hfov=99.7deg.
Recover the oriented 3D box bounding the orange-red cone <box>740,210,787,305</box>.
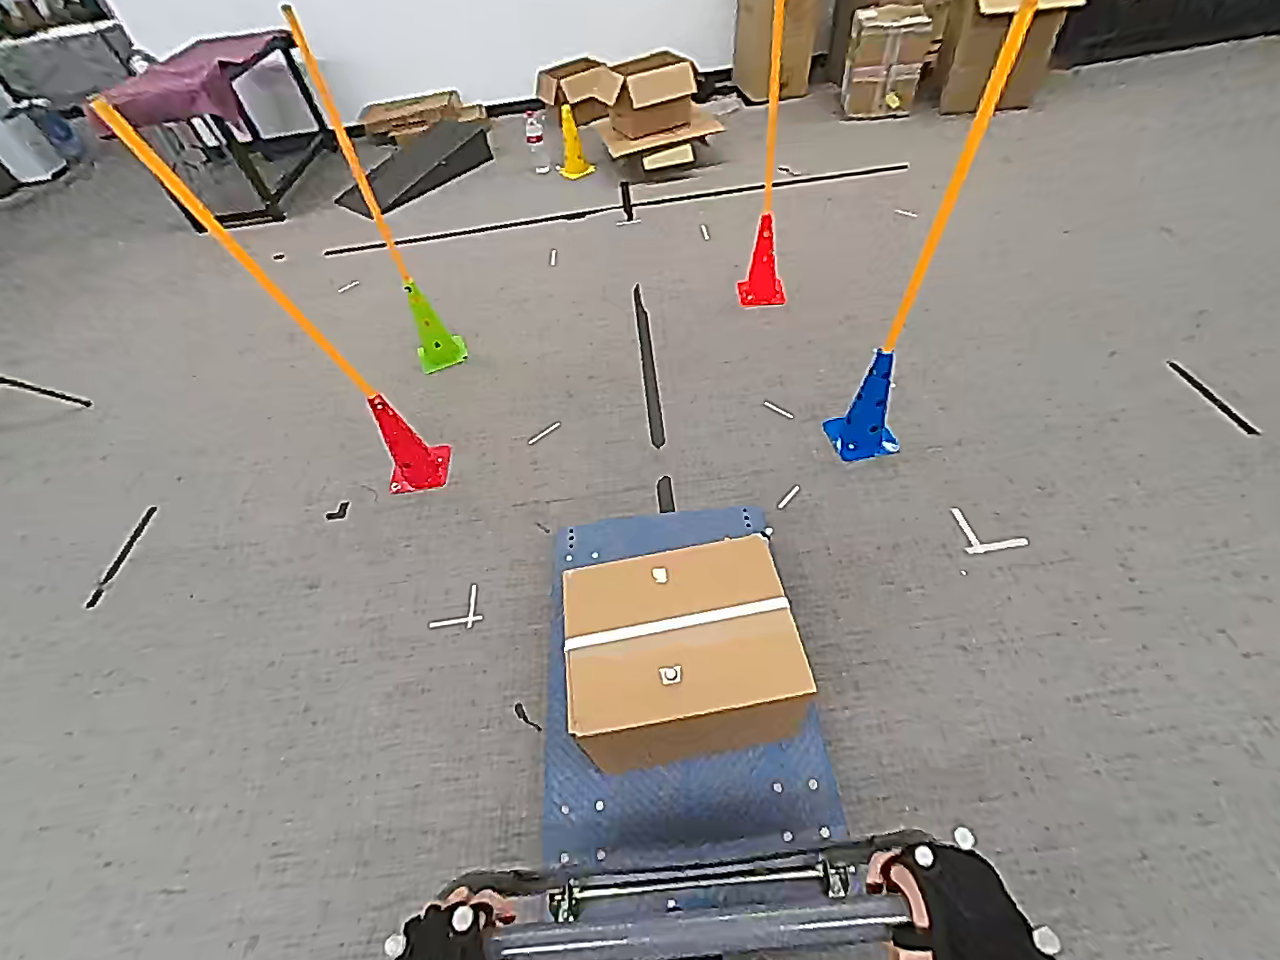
[{"bbox_3d":[0.532,-0.948,2.275,0.199,0.360,0.198,-2,52,5],"label":"orange-red cone"}]

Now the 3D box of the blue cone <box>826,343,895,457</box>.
[{"bbox_3d":[0.734,-0.262,1.711,0.193,0.380,0.192,-10,50,-1],"label":"blue cone"}]
